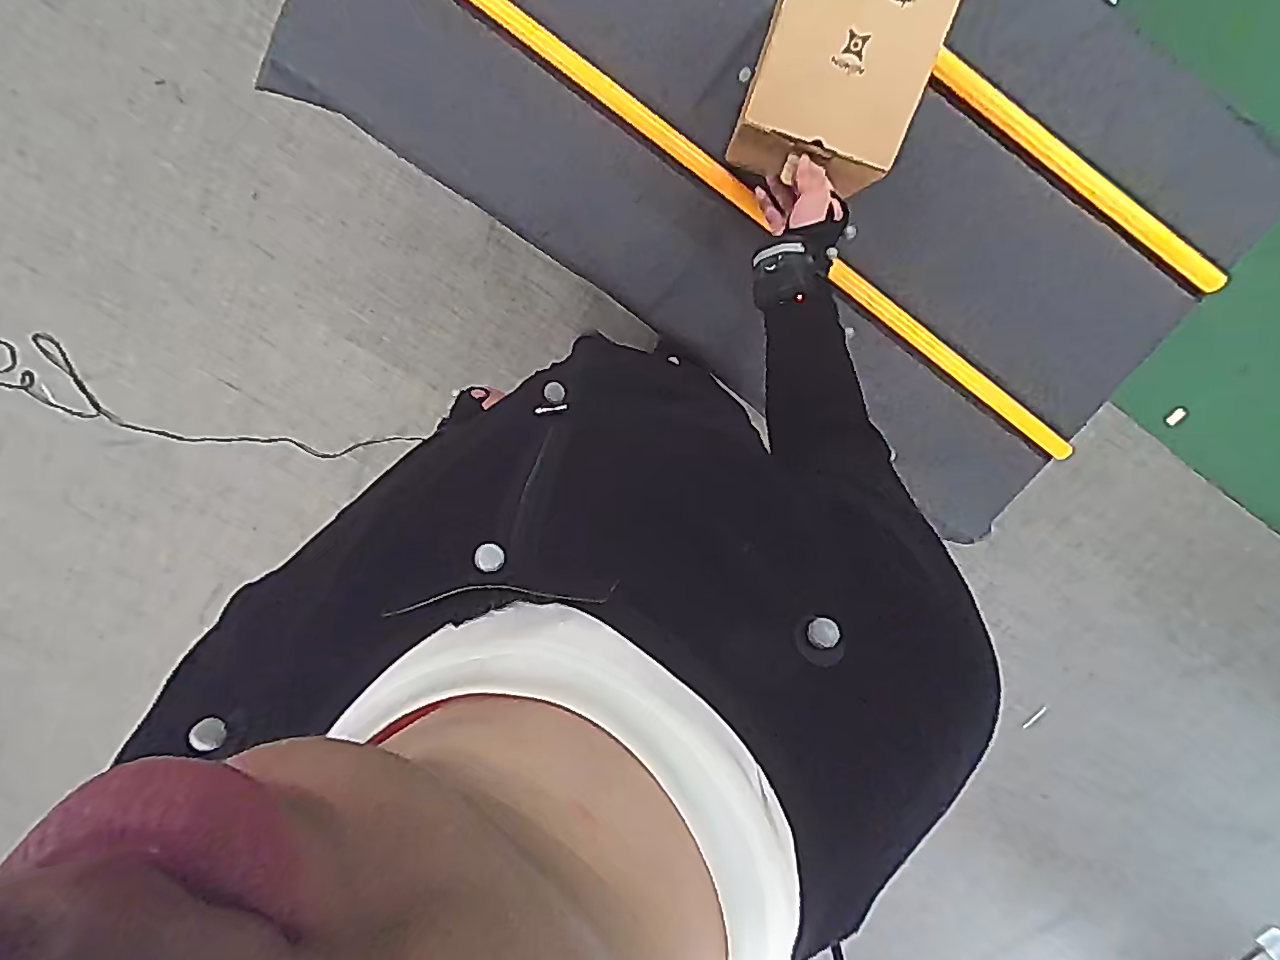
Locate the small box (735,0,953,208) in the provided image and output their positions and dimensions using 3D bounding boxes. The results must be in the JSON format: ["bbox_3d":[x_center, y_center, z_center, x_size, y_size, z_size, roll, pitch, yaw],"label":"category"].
[{"bbox_3d":[0.216,-0.440,0.632,0.168,0.176,0.179,16,107,-1],"label":"small box"}]
